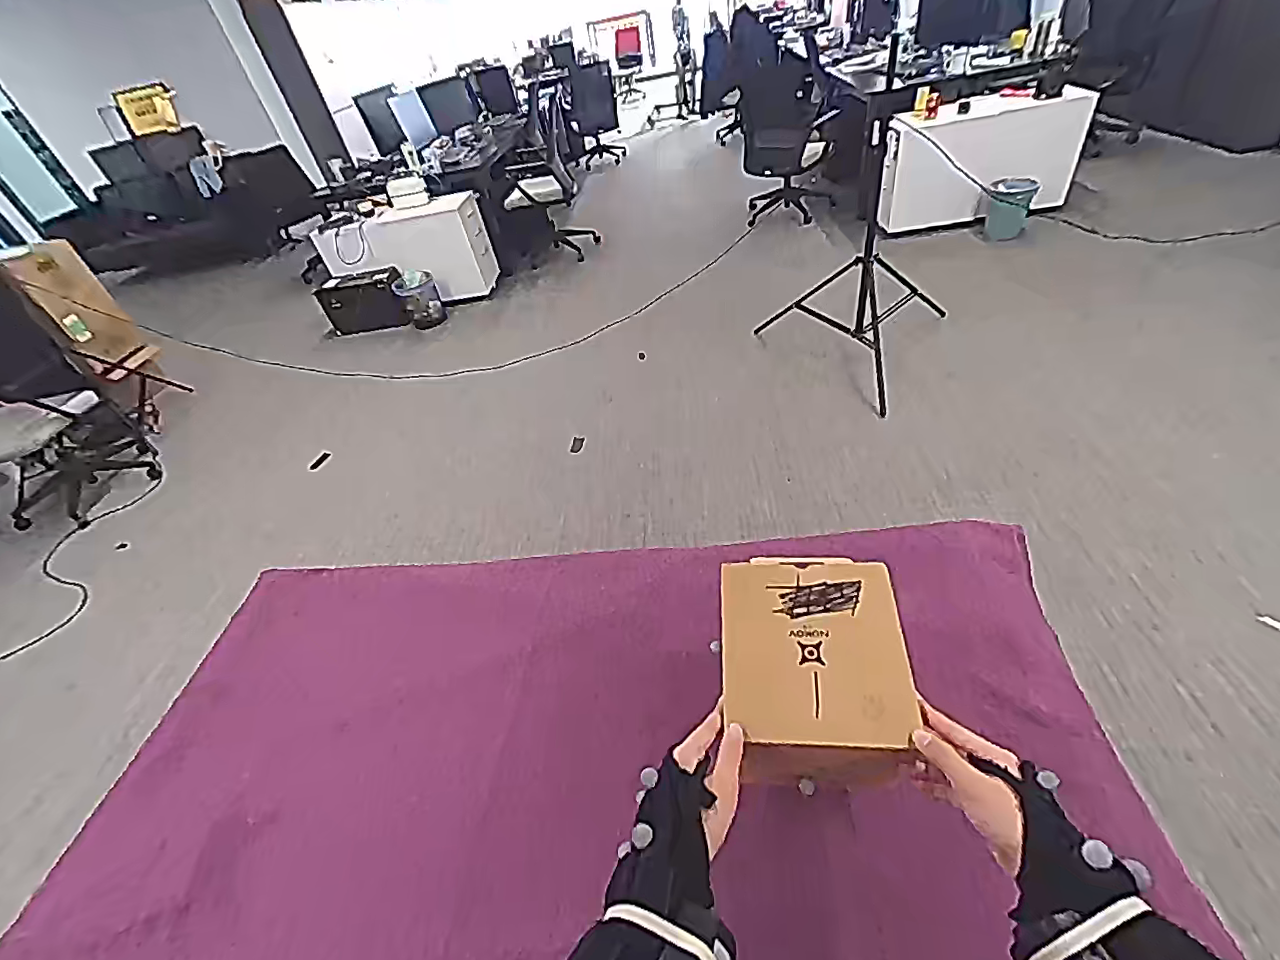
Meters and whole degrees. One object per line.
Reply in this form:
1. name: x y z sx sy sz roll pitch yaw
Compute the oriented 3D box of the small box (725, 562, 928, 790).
1. small box: 0.173 0.202 0.563 0.168 0.176 0.179 -2 50 10
